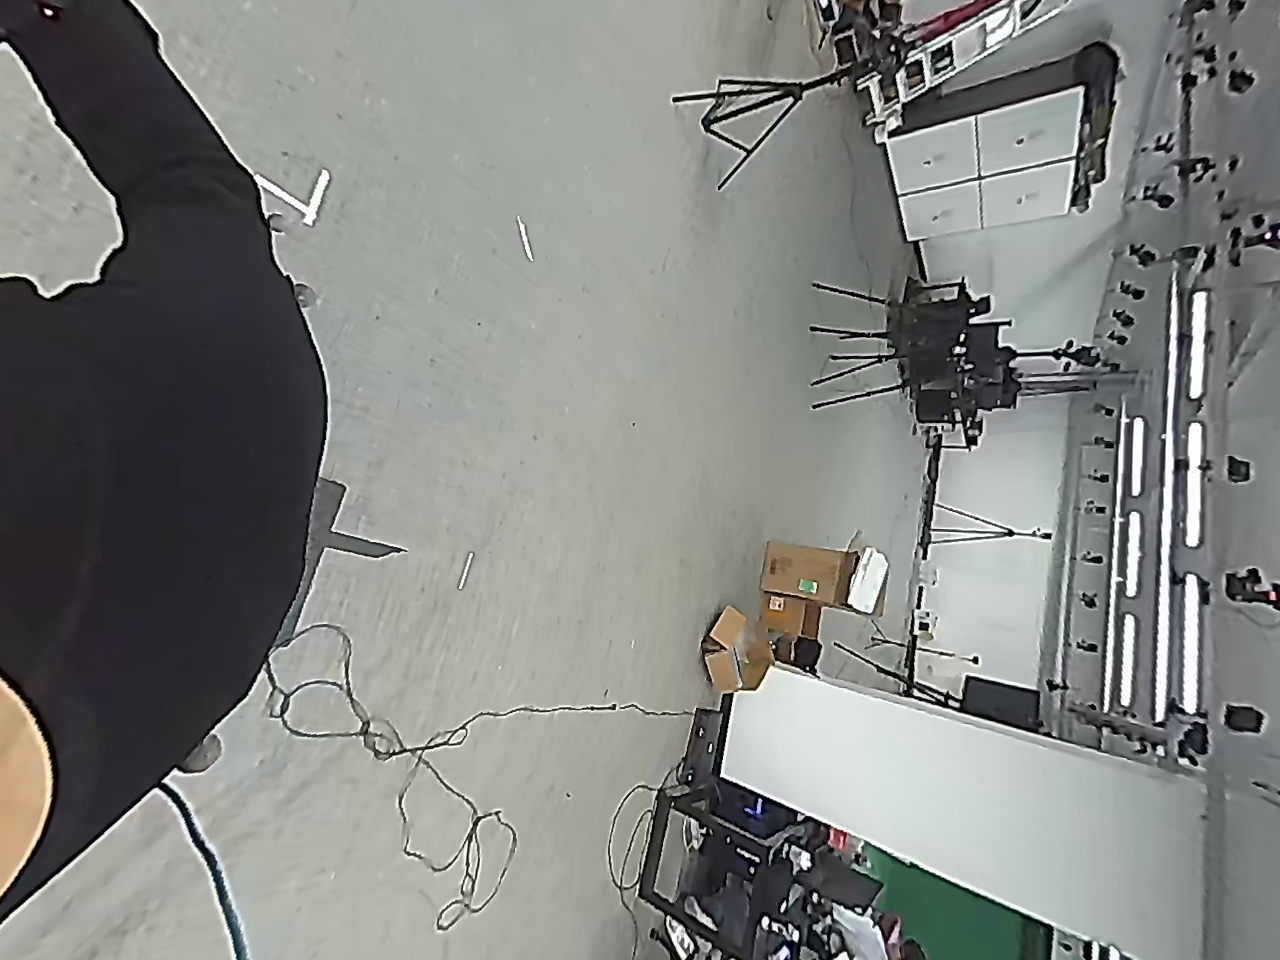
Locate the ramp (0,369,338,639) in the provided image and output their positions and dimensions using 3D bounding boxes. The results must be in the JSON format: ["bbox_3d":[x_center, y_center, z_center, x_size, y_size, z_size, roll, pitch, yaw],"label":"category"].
[{"bbox_3d":[-1.165,0.086,1.164,0.991,0.206,0.509,27,72,-53],"label":"ramp"}]
